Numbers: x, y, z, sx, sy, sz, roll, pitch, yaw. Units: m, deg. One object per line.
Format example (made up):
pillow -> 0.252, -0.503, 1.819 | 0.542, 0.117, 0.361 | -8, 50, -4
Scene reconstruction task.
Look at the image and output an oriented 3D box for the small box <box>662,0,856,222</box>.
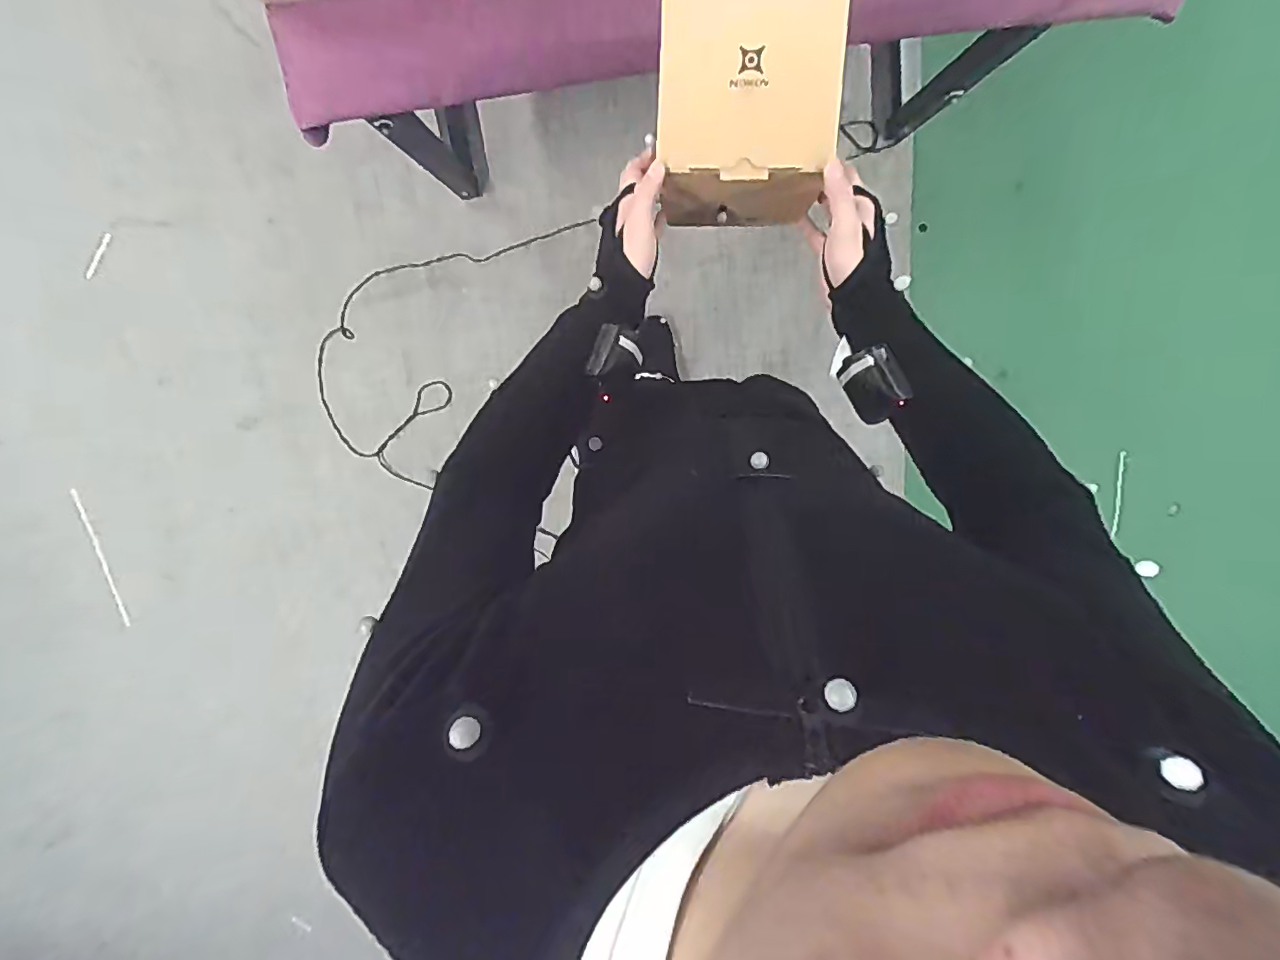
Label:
small box -> 0.109, -0.385, 0.557 | 0.168, 0.176, 0.179 | 2, 101, 4
